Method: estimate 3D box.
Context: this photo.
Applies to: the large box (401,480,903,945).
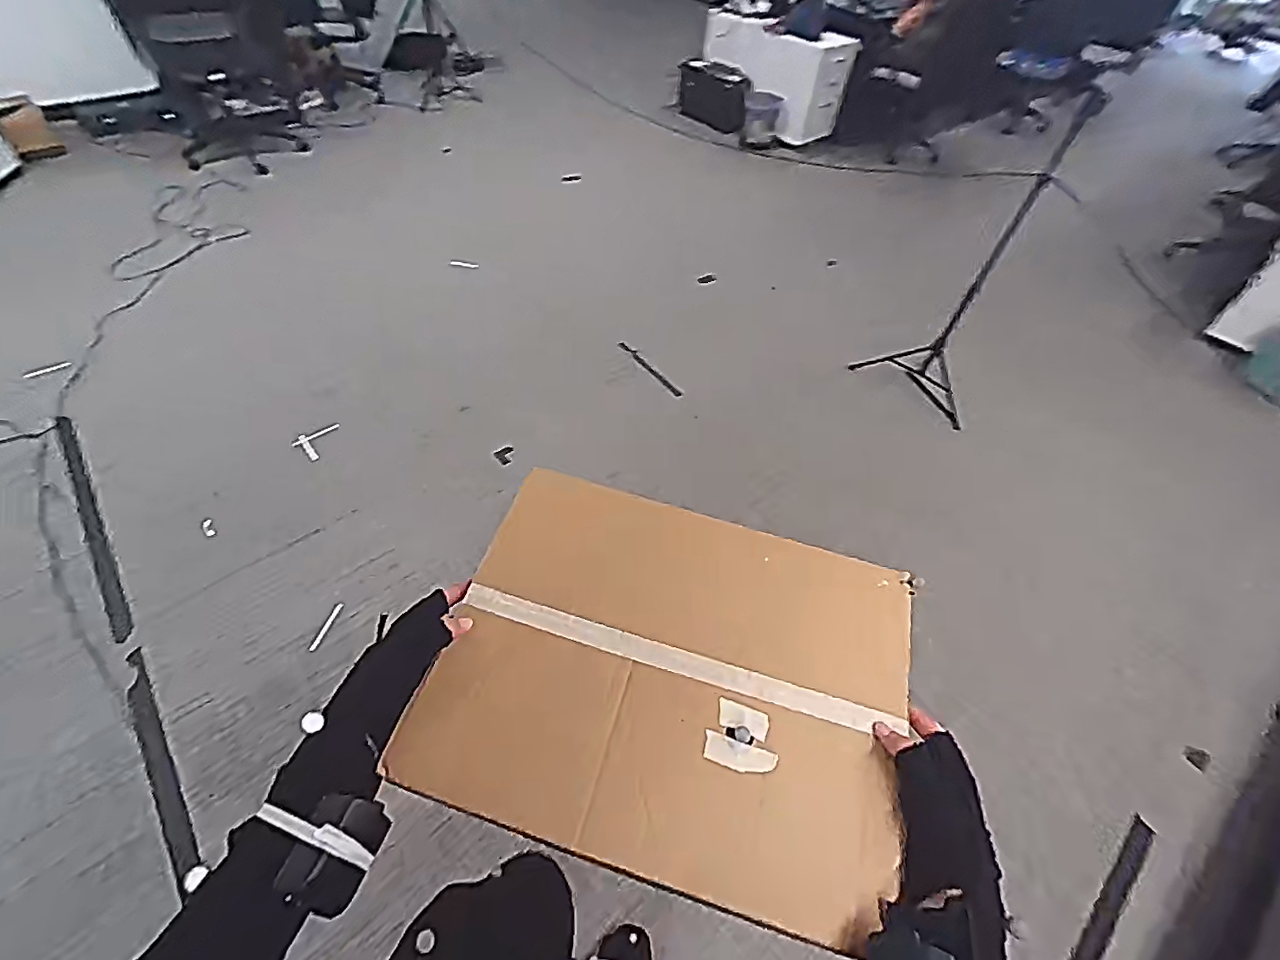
[{"bbox_3d":[0.027,0.251,0.614,0.408,0.320,0.320,16,56,7],"label":"large box"}]
